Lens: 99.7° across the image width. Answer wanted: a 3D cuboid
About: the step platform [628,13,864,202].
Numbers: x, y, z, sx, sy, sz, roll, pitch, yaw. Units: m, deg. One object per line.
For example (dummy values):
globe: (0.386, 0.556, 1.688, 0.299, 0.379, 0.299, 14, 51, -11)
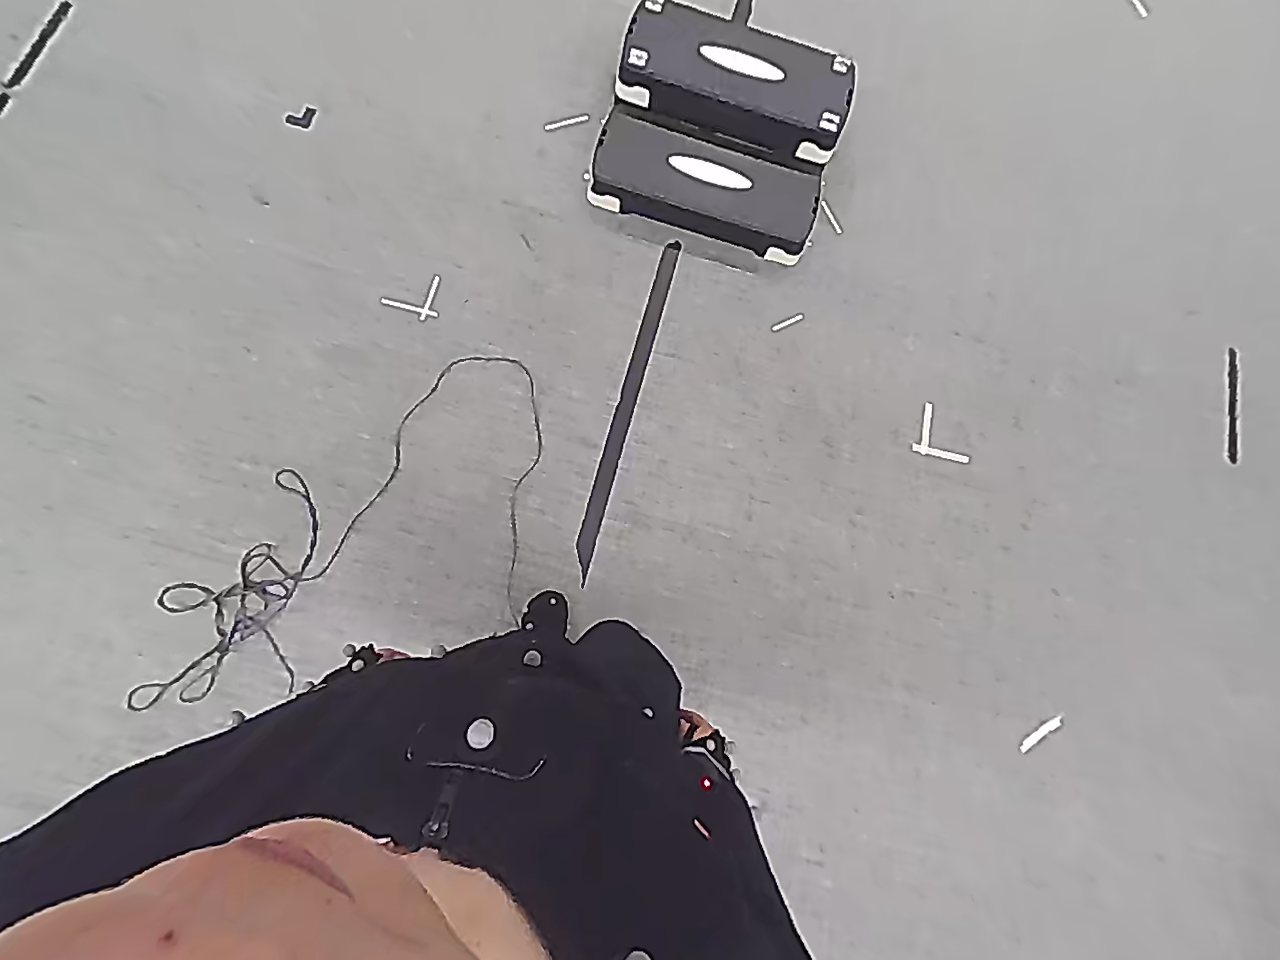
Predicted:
step platform: (0.315, -1.119, 1.635, 0.684, 0.204, 0.286, 20, 77, -2)
